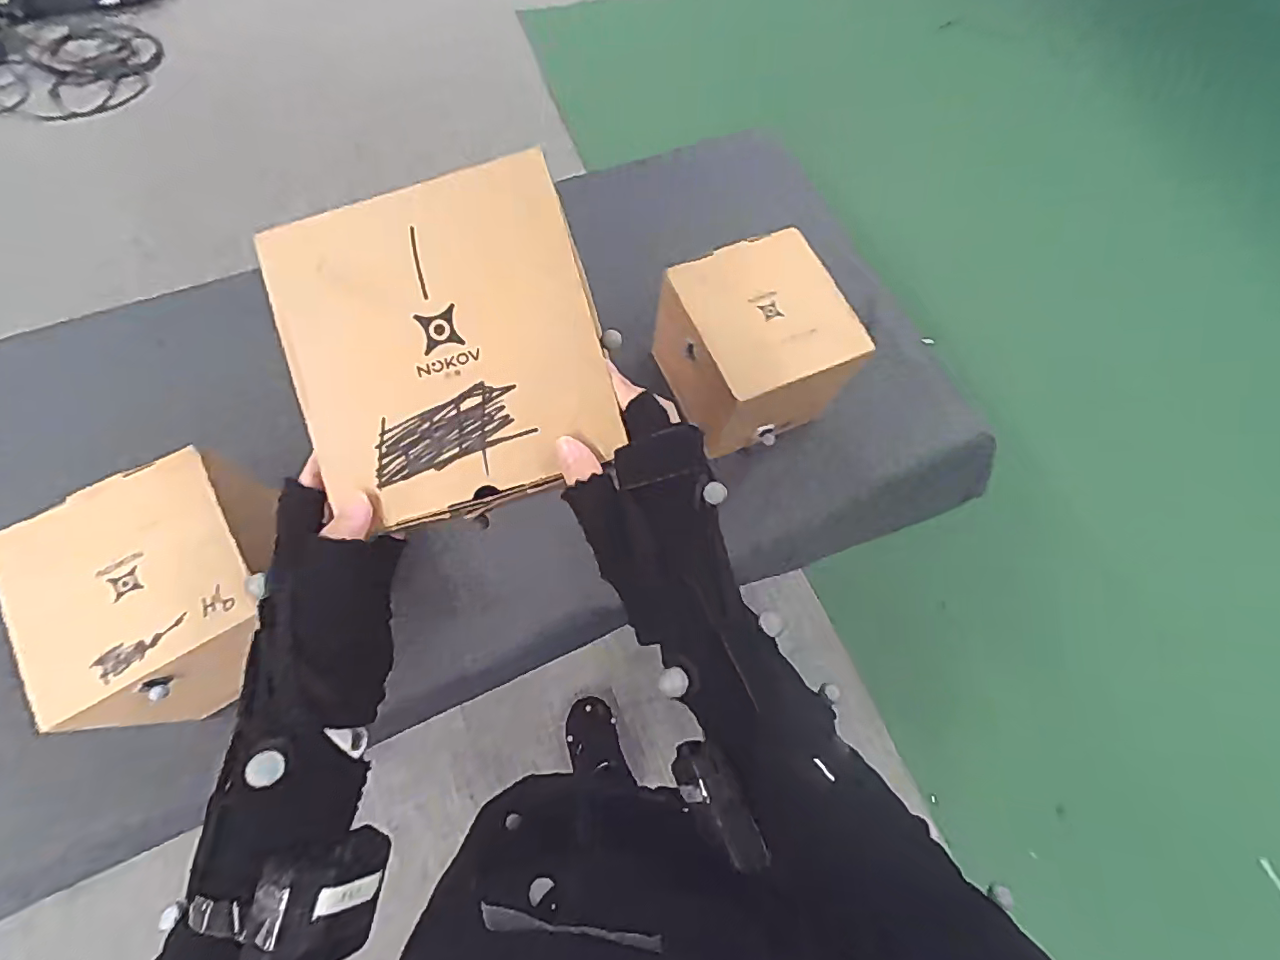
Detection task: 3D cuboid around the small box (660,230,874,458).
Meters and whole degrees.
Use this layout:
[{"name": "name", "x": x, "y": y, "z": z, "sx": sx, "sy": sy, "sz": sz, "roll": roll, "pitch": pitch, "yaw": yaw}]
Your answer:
[{"name": "small box", "x": 0.133, "y": -0.154, "z": 0.650, "sx": 0.168, "sy": 0.176, "sz": 0.179, "roll": -24, "pitch": 75, "yaw": -10}]

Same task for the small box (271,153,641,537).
[{"name": "small box", "x": -0.098, "y": -0.073, "z": 0.371, "sx": 0.168, "sy": 0.176, "sz": 0.179, "roll": -15, "pitch": 90, "yaw": 2}]

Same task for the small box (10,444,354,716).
[{"name": "small box", "x": -0.415, "y": 0.102, "z": 0.519, "sx": 0.168, "sy": 0.176, "sz": 0.179, "roll": -31, "pitch": 73, "yaw": -12}]
